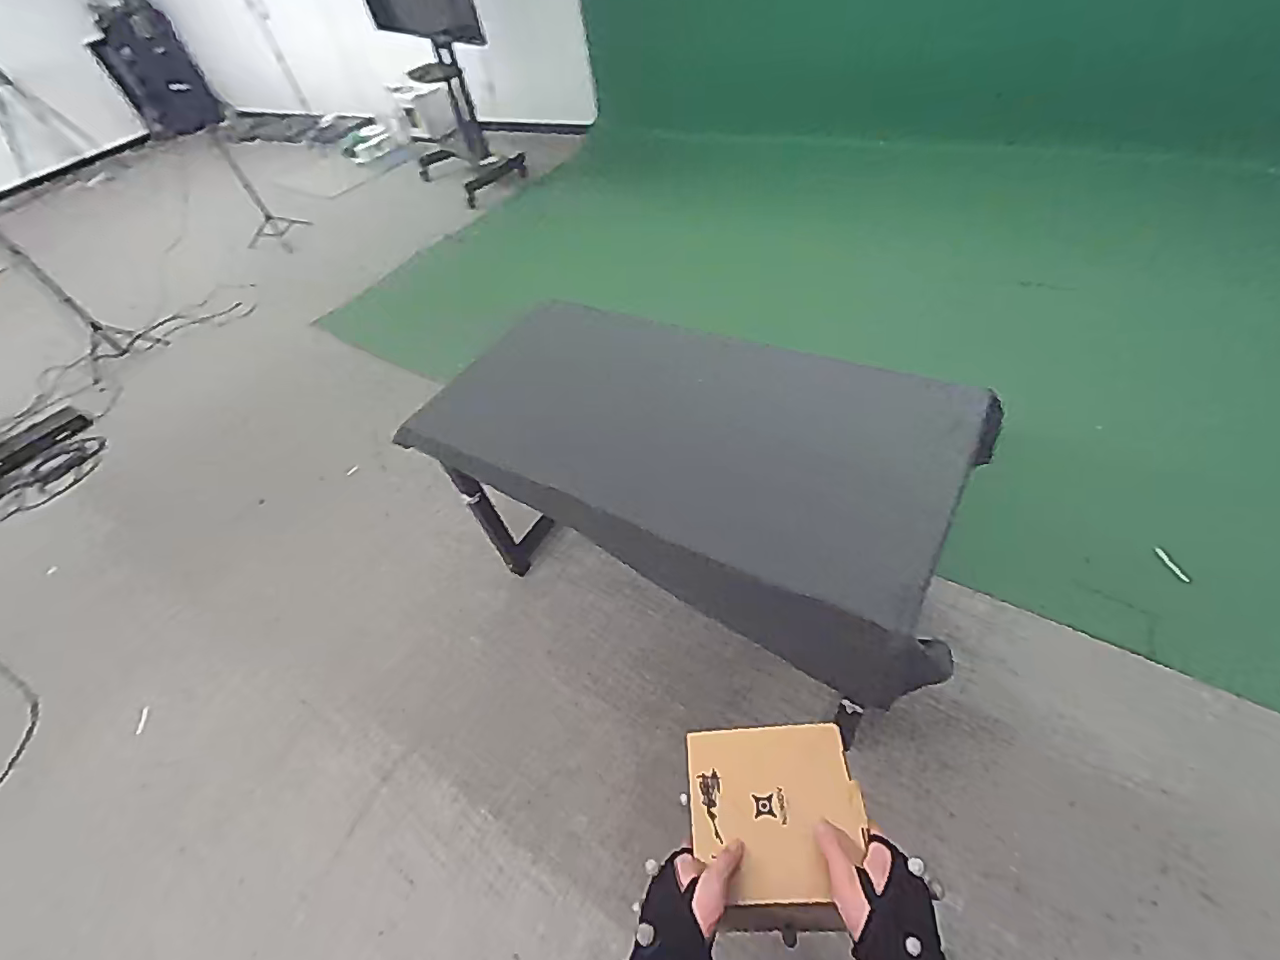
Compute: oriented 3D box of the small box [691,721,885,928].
[{"bbox_3d":[0.154,0.395,0.620,0.179,0.176,0.168,-6,43,6],"label":"small box"}]
